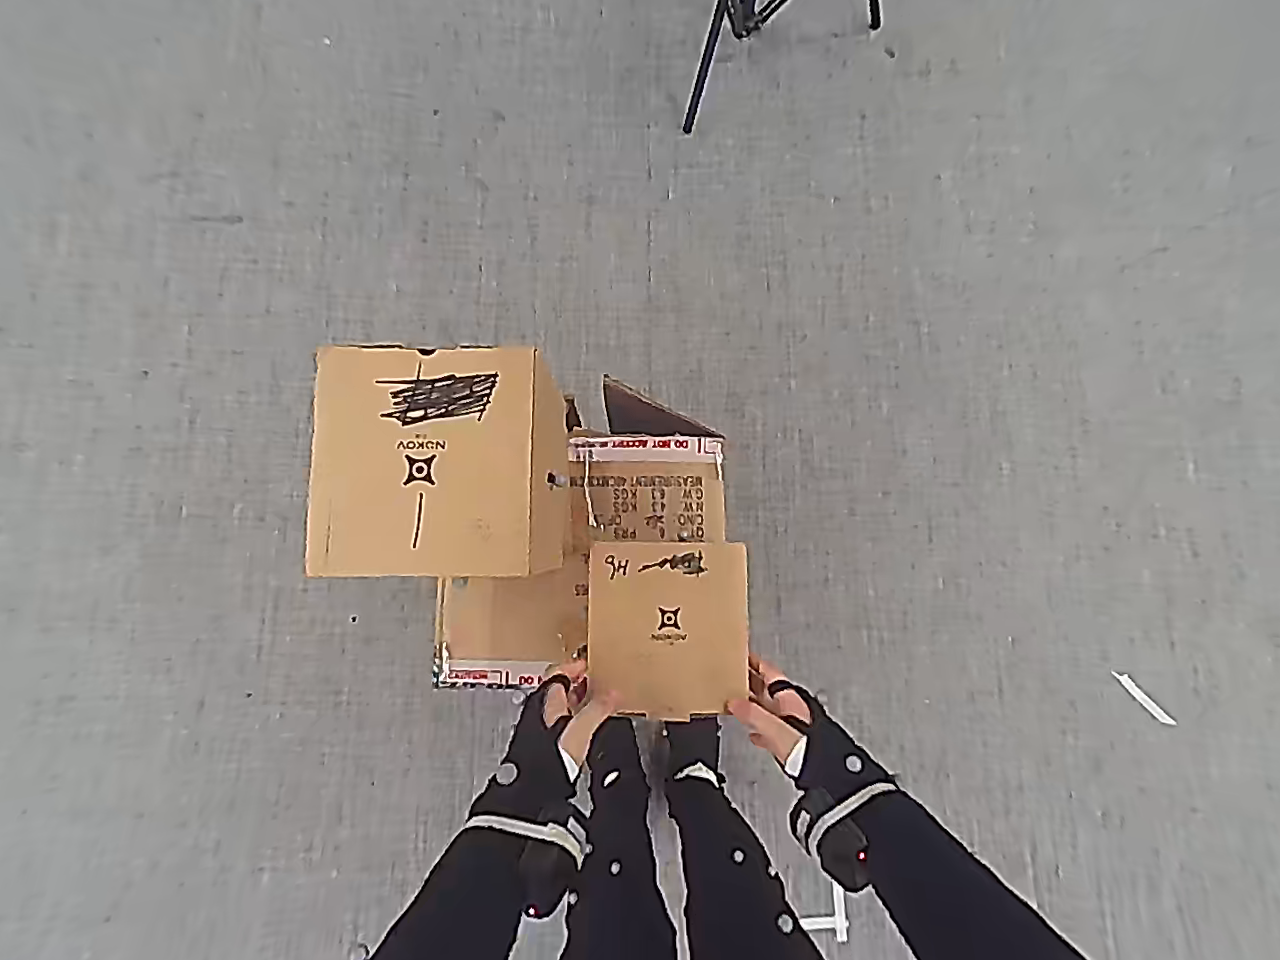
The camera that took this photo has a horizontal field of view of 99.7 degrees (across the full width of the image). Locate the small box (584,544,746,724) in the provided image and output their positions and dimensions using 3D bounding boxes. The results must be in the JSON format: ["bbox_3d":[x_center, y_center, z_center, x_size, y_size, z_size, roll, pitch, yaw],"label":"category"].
[{"bbox_3d":[0.025,0.165,0.629,0.168,0.176,0.179,0,84,-2],"label":"small box"}]

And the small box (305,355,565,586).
[{"bbox_3d":[-0.161,0.000,0.481,0.168,0.176,0.179,0,84,1],"label":"small box"}]
